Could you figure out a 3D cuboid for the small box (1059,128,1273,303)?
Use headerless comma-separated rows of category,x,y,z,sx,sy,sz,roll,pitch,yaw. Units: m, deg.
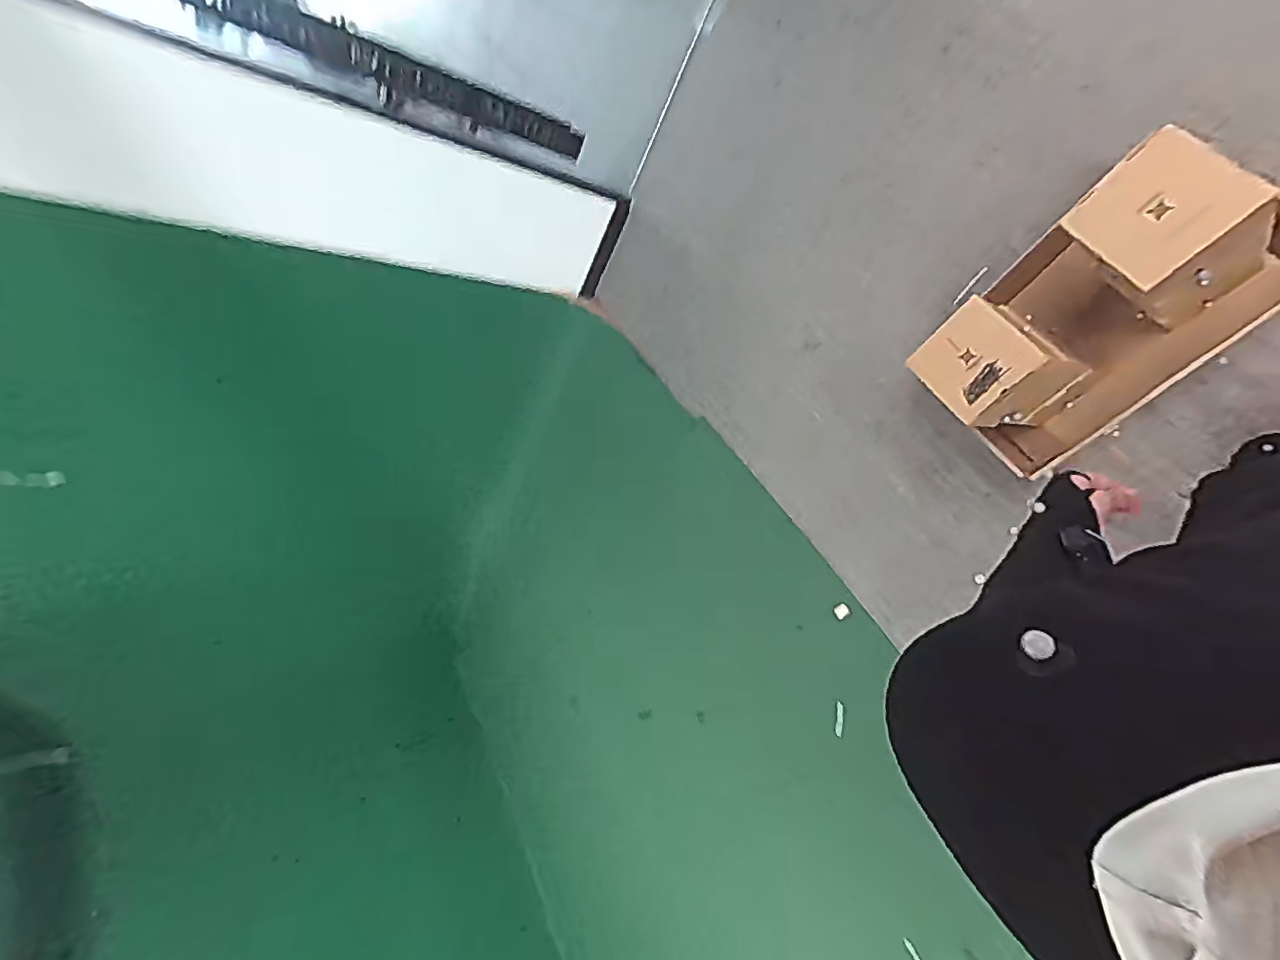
small box,0.820,-0.402,0.853,0.168,0.176,0.179,-50,58,39

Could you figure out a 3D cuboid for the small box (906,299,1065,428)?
small box,0.666,-0.217,1.041,0.168,0.176,0.179,-52,54,36

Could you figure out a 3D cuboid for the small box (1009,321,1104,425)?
small box,0.916,-0.239,1.252,0.168,0.176,0.179,-53,55,37

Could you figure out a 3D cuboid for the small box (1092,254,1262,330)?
small box,1.060,-0.418,1.075,0.168,0.176,0.179,-52,57,37

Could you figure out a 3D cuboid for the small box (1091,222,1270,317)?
small box,0.942,-0.412,0.961,0.168,0.176,0.179,-50,57,38
